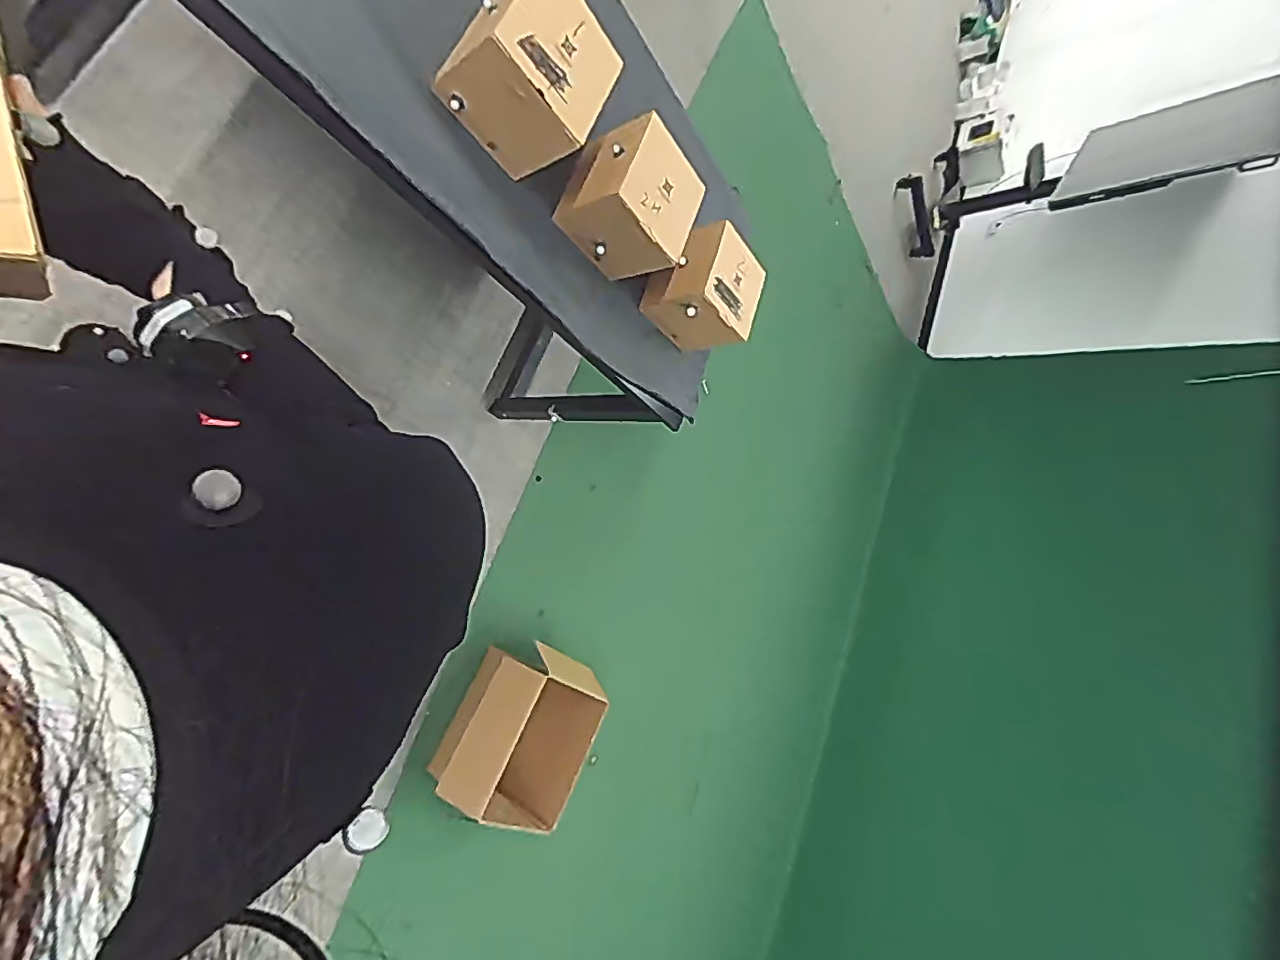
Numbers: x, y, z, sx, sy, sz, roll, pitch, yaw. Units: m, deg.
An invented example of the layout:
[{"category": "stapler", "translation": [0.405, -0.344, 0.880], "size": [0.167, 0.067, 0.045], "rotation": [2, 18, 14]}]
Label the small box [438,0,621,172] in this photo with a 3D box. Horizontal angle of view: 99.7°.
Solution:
[{"category": "small box", "translation": [-0.164, -0.592, 0.787], "size": [0.168, 0.176, 0.179], "rotation": [37, 67, -44]}]

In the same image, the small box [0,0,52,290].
[{"category": "small box", "translation": [-0.440, -0.205, 0.276], "size": [0.168, 0.176, 0.179], "rotation": [-12, 106, -46]}]

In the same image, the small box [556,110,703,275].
[{"category": "small box", "translation": [-0.020, -0.493, 0.955], "size": [0.168, 0.176, 0.179], "rotation": [34, 70, -44]}]
